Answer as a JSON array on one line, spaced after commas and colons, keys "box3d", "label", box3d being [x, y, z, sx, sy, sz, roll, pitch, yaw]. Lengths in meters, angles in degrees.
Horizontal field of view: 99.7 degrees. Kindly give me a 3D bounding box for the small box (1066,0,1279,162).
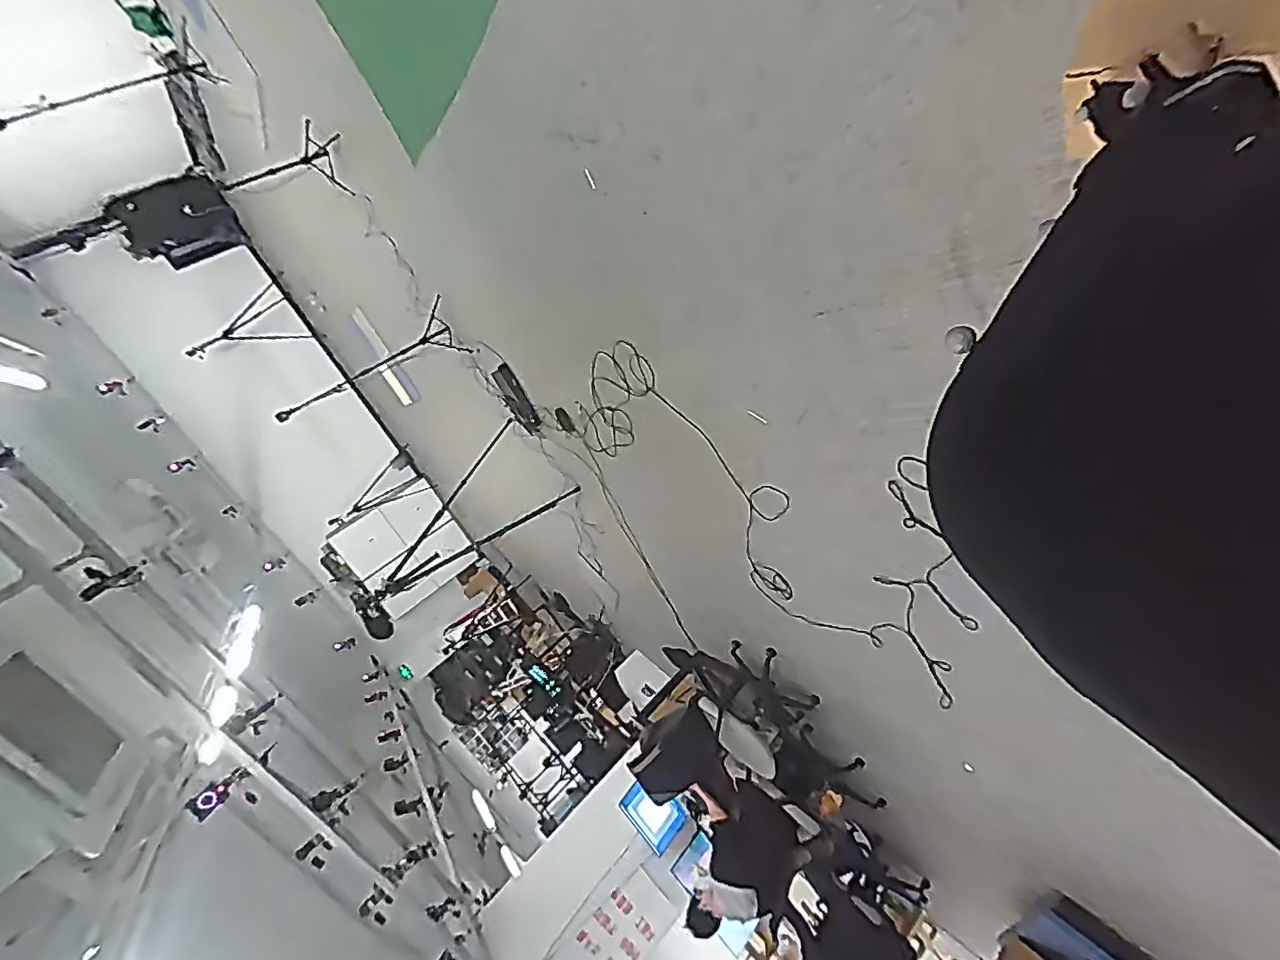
[{"box3d": [0.540, -0.436, 0.519, 0.168, 0.179, 0.176, 24, 104, 36], "label": "small box"}]
